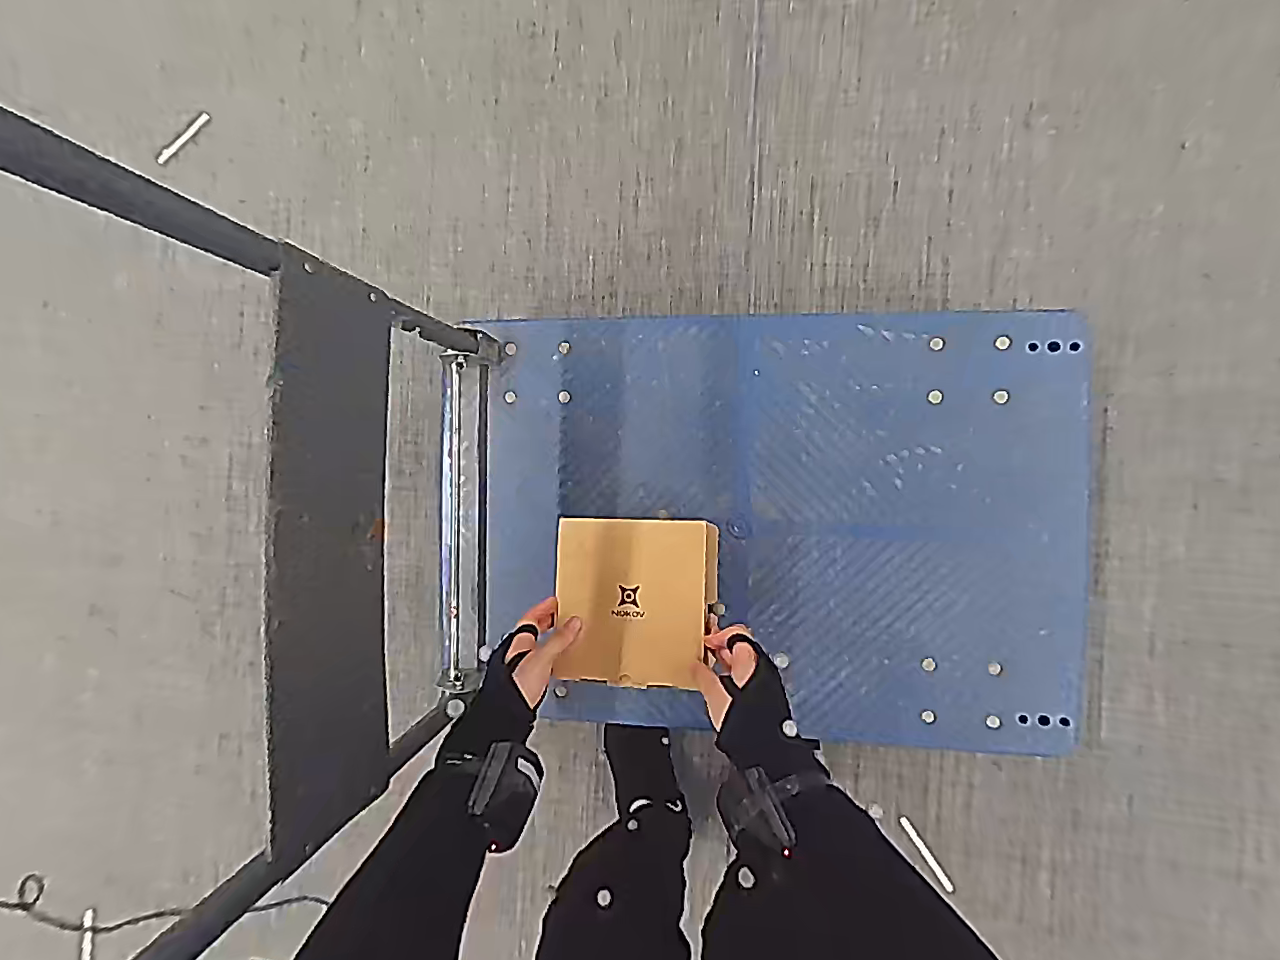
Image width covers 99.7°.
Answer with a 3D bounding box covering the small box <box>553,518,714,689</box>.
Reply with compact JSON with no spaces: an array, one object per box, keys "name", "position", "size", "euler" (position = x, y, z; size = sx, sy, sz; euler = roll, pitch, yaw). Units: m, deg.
[{"name":"small box","position":[0.002,0.138,0.655],"size":[0.168,0.176,0.179],"euler":[-1,84,11]}]
